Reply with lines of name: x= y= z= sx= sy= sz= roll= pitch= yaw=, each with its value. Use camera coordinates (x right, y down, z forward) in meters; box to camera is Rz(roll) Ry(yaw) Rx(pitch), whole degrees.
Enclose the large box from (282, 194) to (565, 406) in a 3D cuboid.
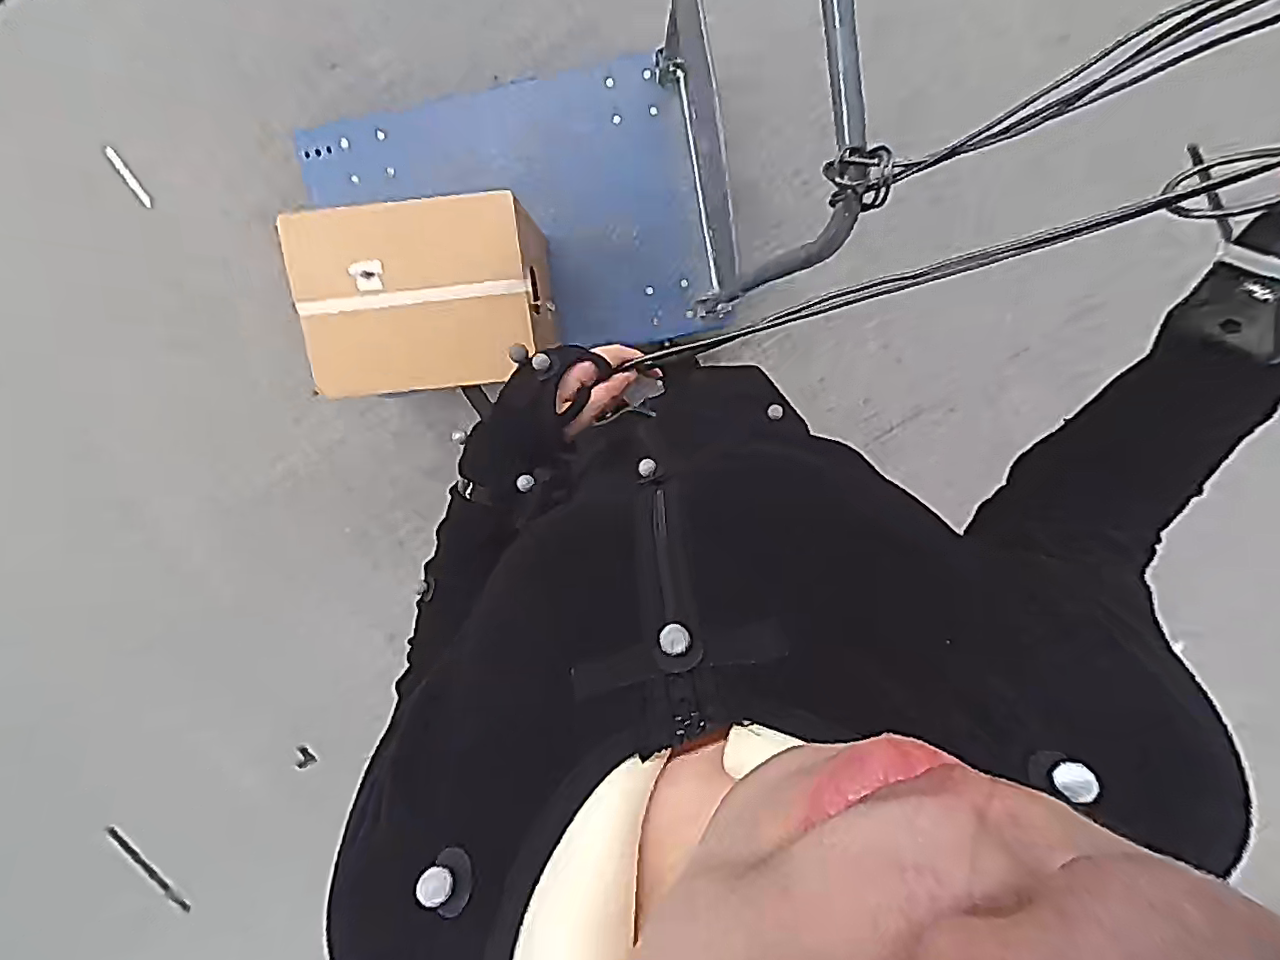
large box: x=-0.388 y=-0.339 z=1.081 sx=0.408 sy=0.320 sz=0.320 roll=-6 pitch=102 yaw=2
